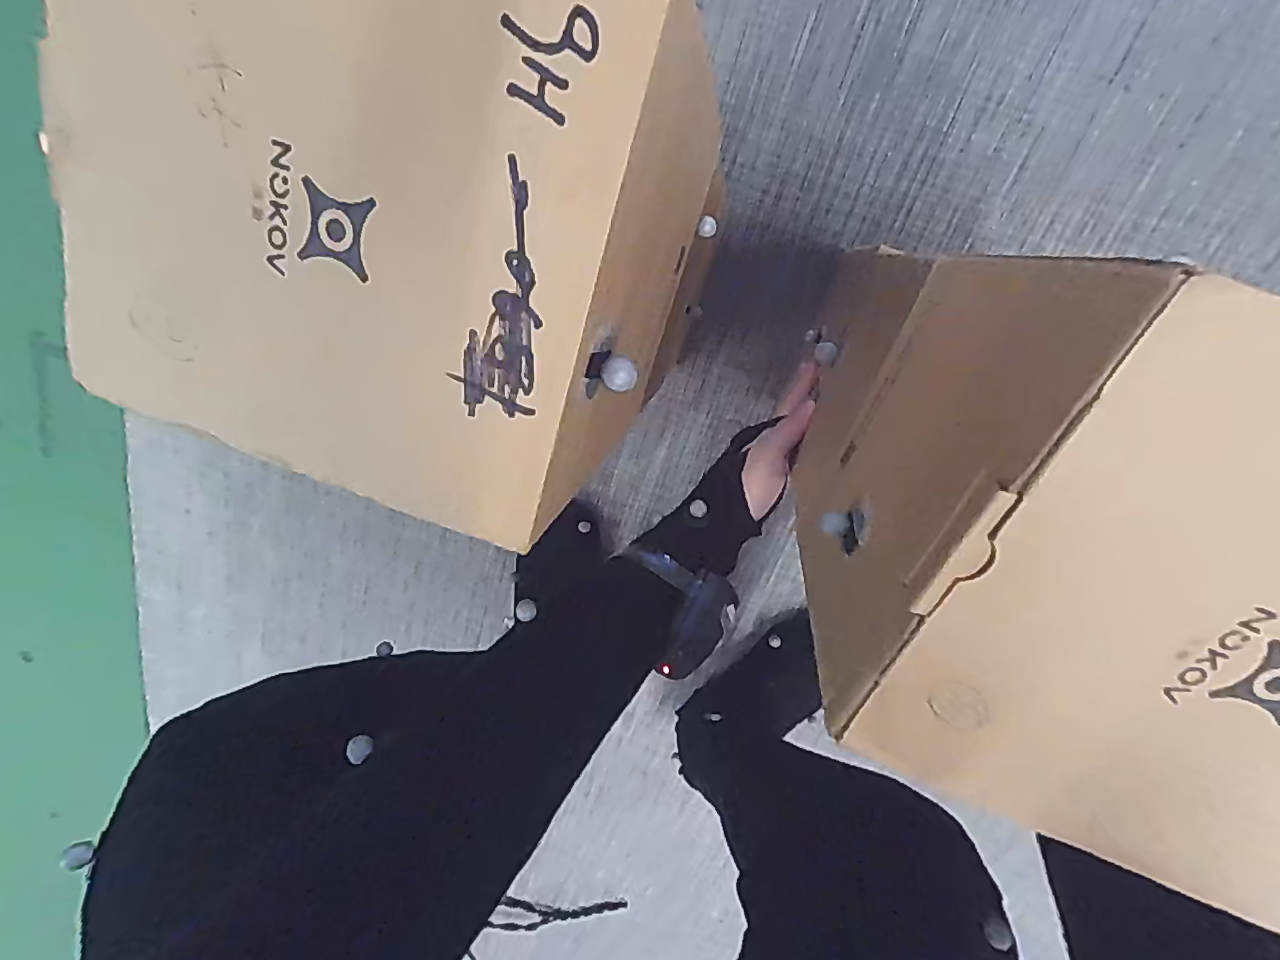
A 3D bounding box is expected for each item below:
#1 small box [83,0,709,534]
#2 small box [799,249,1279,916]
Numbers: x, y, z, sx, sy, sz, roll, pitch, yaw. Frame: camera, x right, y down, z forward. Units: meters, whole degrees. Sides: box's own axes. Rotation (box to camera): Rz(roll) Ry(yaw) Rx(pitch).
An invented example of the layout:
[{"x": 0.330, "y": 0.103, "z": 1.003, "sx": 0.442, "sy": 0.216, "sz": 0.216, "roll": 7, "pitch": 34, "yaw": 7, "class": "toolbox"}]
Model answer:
[{"x": -0.081, "y": -0.106, "z": 0.242, "sx": 0.179, "sy": 0.176, "sz": 0.168, "roll": 20, "pitch": 112, "yaw": 5, "class": "small box"}, {"x": 0.182, "y": 0.018, "z": 0.228, "sx": 0.179, "sy": 0.176, "sz": 0.168, "roll": 22, "pitch": 116, "yaw": 2, "class": "small box"}]
